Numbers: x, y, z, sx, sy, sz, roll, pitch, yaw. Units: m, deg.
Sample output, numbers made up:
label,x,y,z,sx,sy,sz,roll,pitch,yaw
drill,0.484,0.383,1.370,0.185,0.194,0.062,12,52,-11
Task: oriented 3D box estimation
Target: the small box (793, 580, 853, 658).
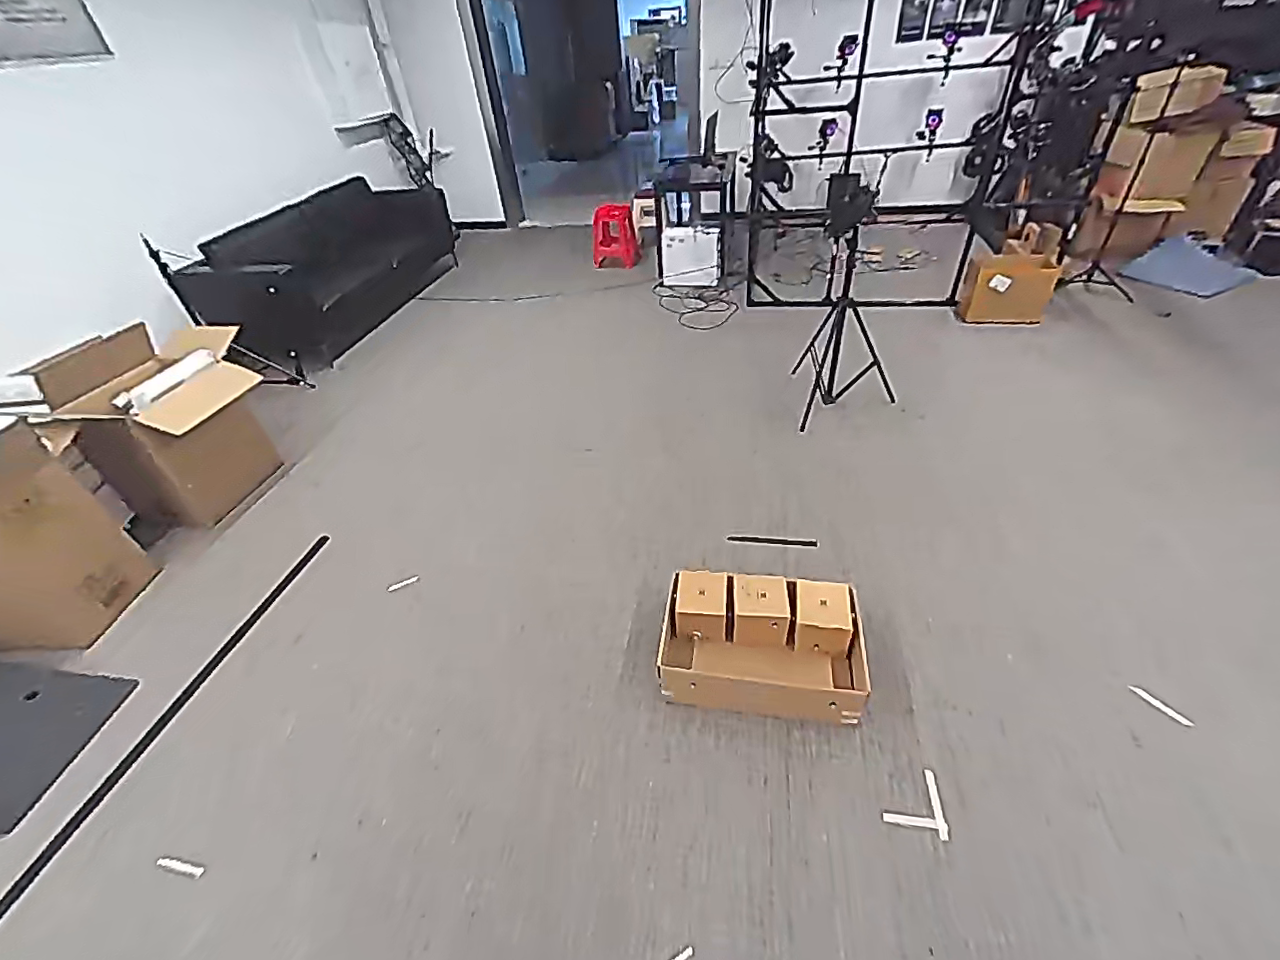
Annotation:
label,x,y,z,sx,sy,sz,roll,pitch,yaw
small box,0.595,0.456,1.777,0.168,0.176,0.179,3,43,12
